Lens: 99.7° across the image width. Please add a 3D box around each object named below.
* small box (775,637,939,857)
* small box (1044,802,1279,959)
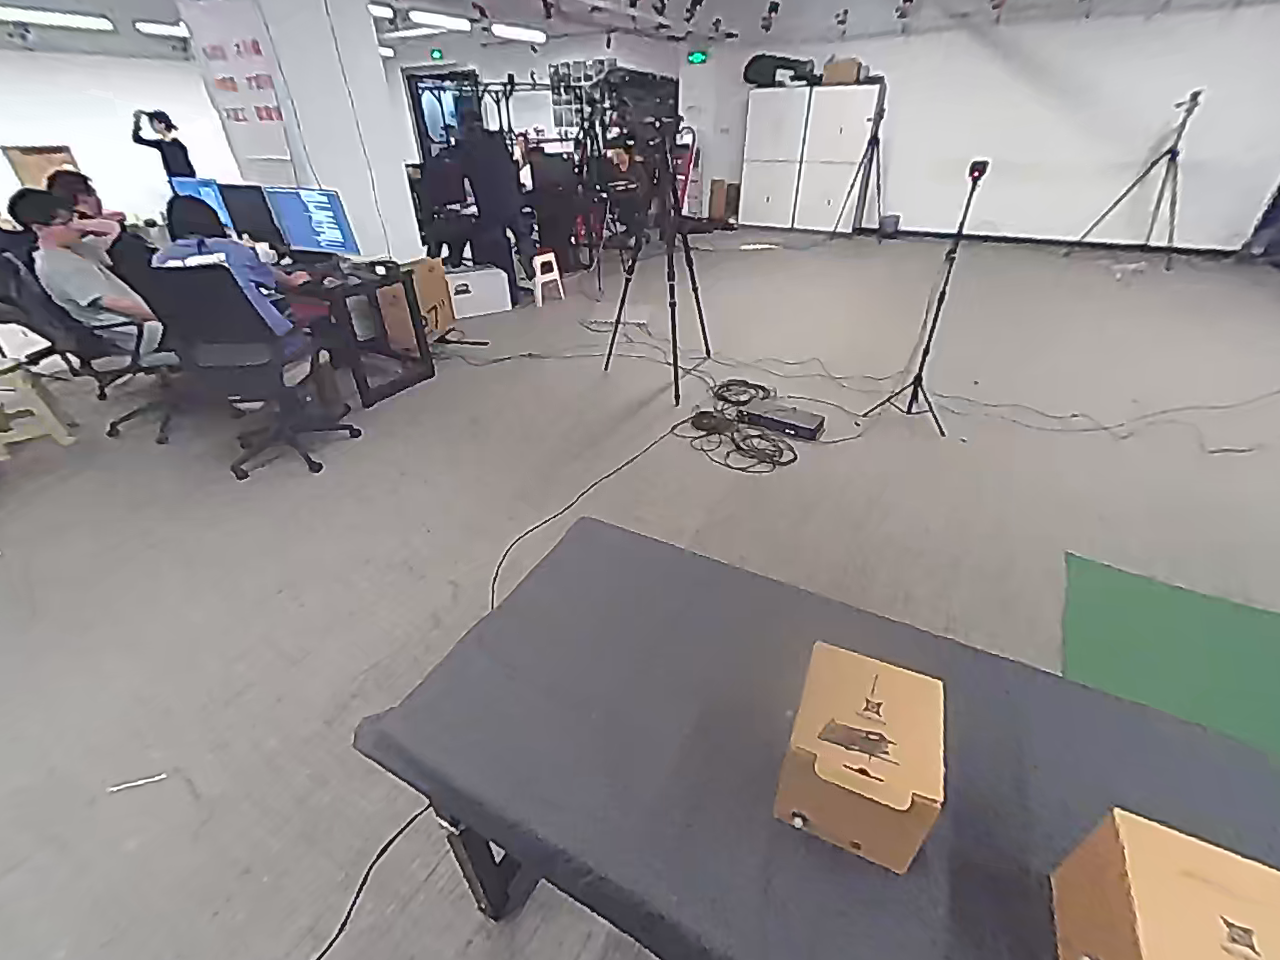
[{"bbox_3d":[0.284,0.352,0.720,0.168,0.176,0.179,14,36,21],"label":"small box"},{"bbox_3d":[0.531,0.476,0.532,0.168,0.176,0.179,16,36,22],"label":"small box"}]
